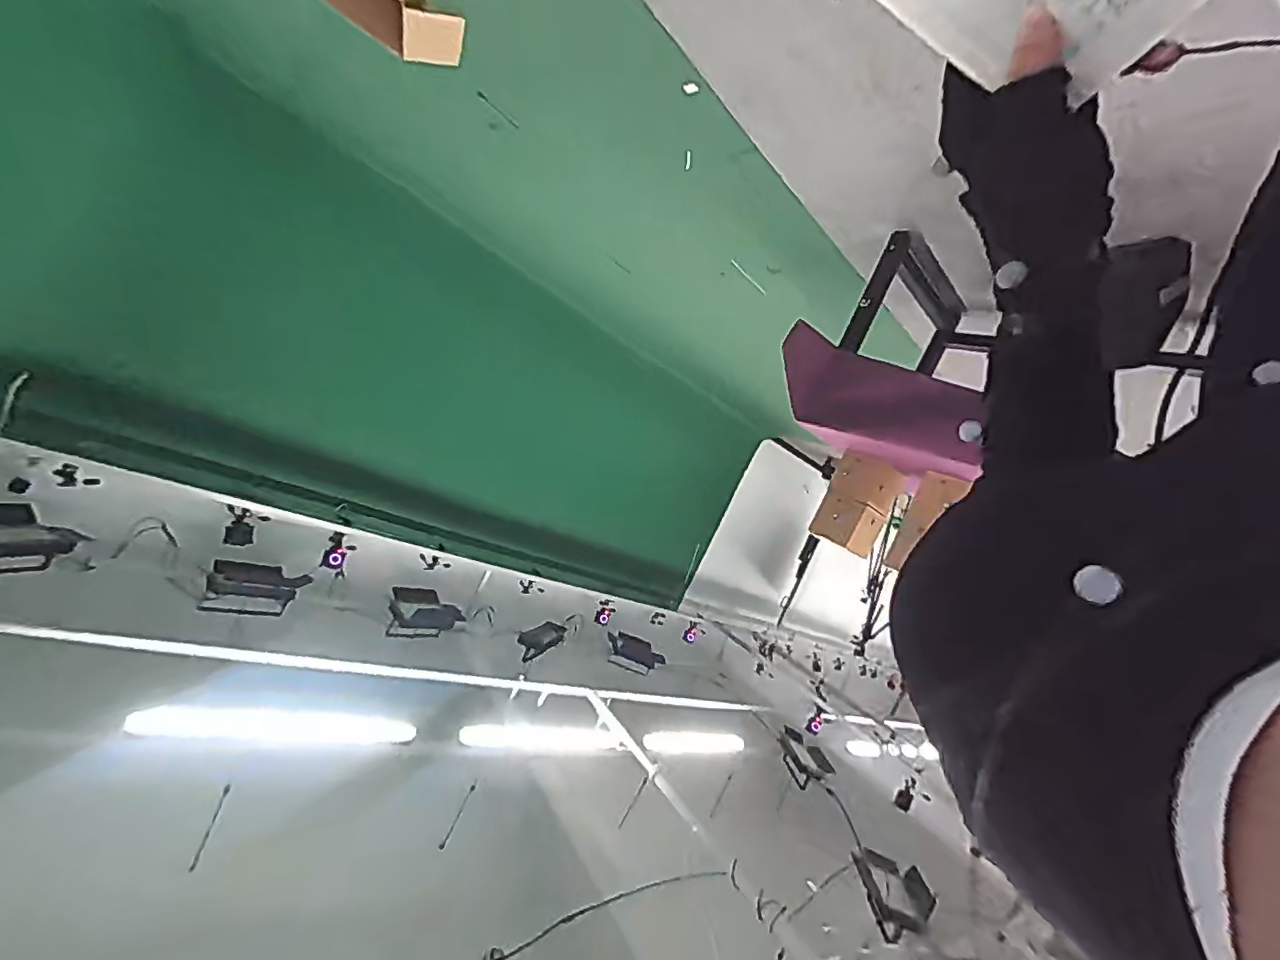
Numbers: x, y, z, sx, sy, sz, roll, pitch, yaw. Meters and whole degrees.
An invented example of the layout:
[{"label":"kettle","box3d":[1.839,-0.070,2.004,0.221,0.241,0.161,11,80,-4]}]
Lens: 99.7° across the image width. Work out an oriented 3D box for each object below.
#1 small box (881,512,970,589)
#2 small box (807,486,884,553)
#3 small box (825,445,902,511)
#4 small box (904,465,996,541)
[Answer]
[{"label":"small box","box3d":[0.895,0.218,1.686,0.179,0.176,0.168,24,-178,-41]},{"label":"small box","box3d":[0.740,0.138,1.944,0.179,0.176,0.168,25,-178,-41]},{"label":"small box","box3d":[0.807,-0.011,1.946,0.179,0.176,0.168,24,-178,-41]},{"label":"small box","box3d":[0.962,0.067,1.676,0.179,0.176,0.168,23,-178,-38]}]
